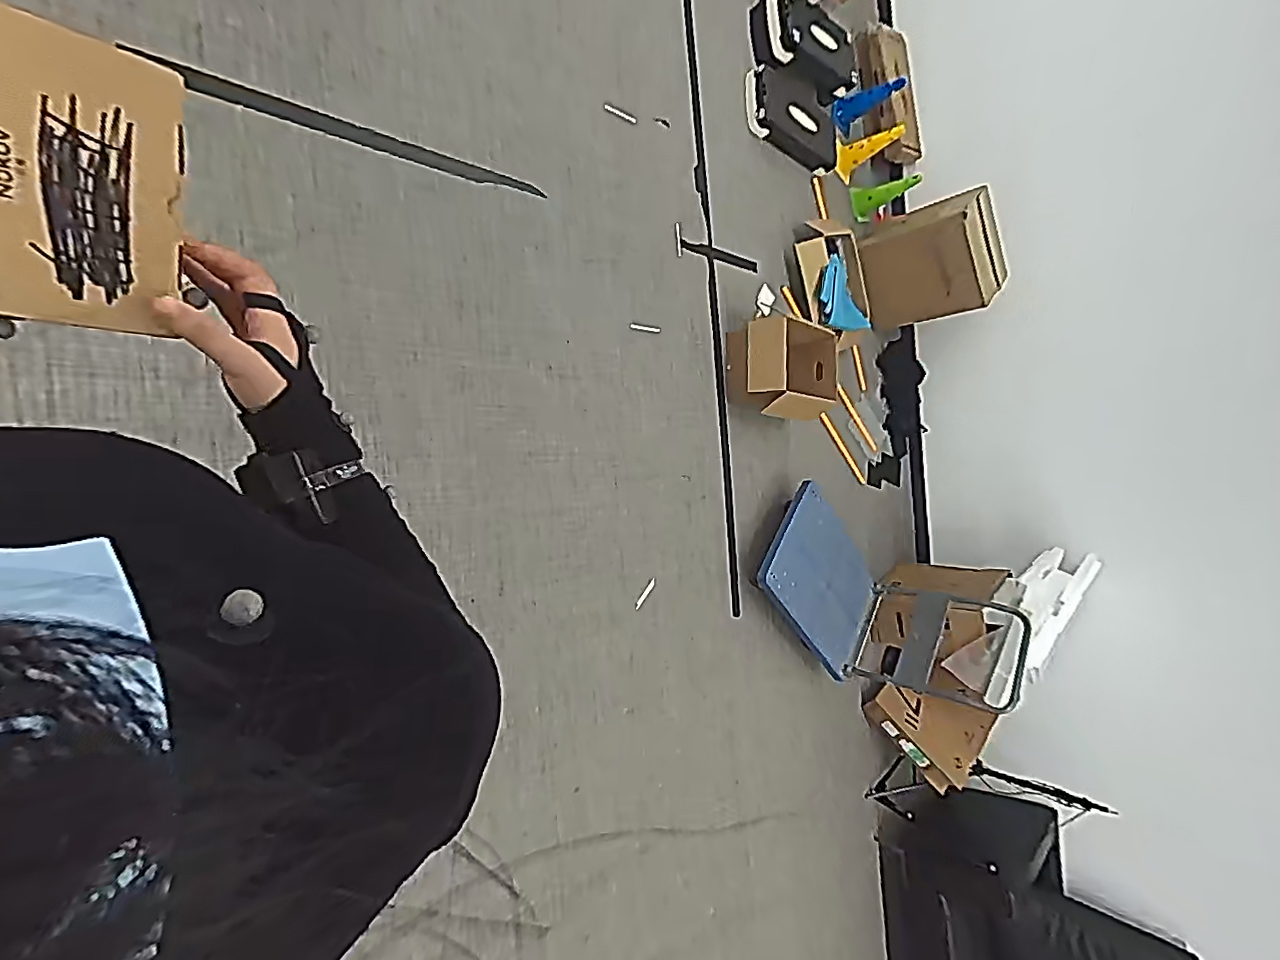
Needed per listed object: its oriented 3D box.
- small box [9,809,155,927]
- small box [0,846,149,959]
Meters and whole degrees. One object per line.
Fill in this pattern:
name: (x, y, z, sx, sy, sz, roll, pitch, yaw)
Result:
small box: (-1.017, 0.745, 0.997, 0.168, 0.176, 0.179, -8, 94, -41)
small box: (-0.911, 0.749, 0.874, 0.168, 0.176, 0.179, -5, 91, -42)
